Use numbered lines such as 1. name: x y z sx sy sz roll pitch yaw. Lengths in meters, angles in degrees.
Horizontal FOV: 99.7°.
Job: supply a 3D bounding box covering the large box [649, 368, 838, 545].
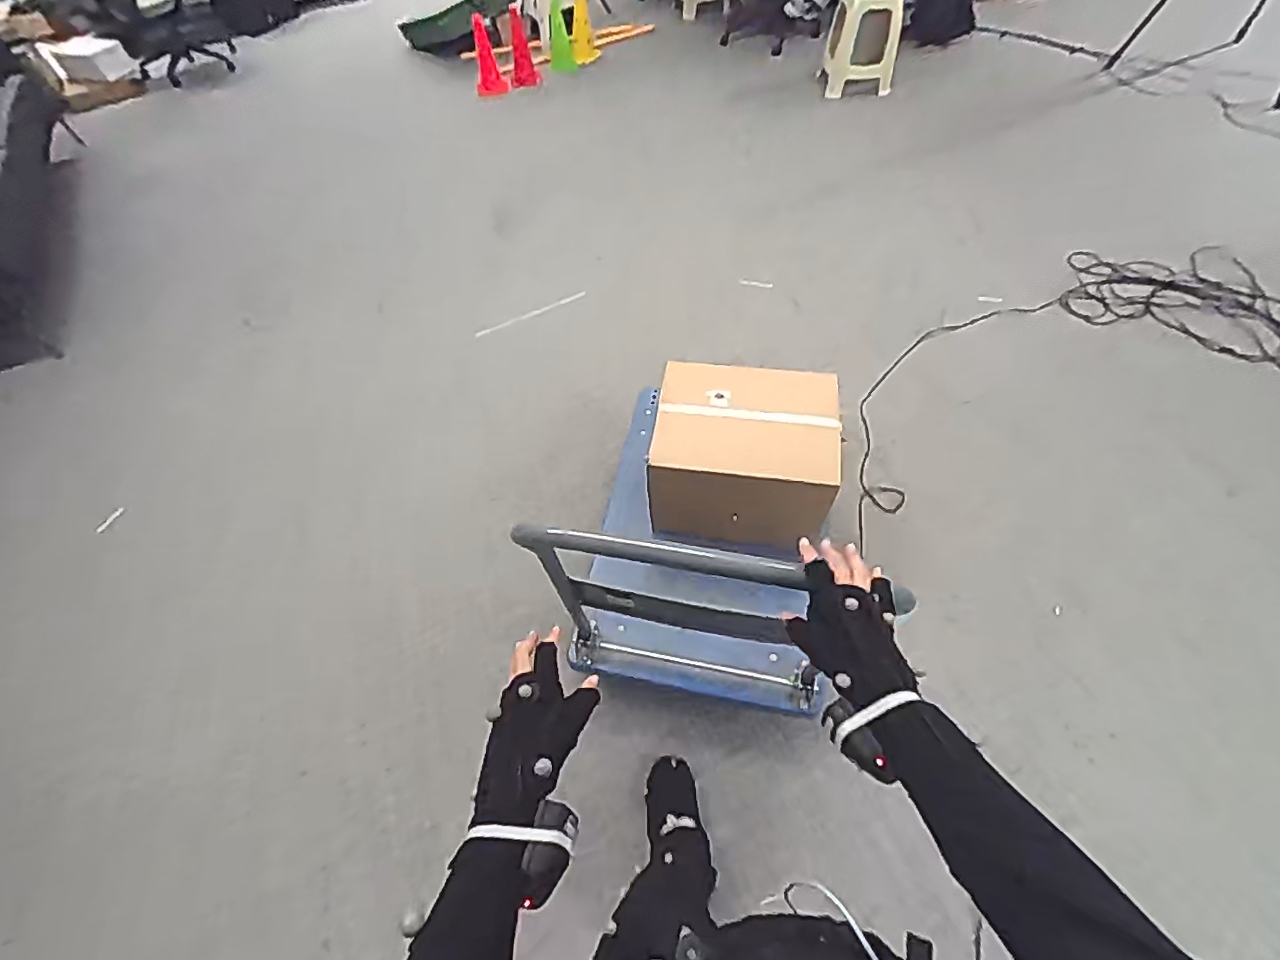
1. large box: 0.249 -0.053 1.343 0.408 0.320 0.320 5 57 9
